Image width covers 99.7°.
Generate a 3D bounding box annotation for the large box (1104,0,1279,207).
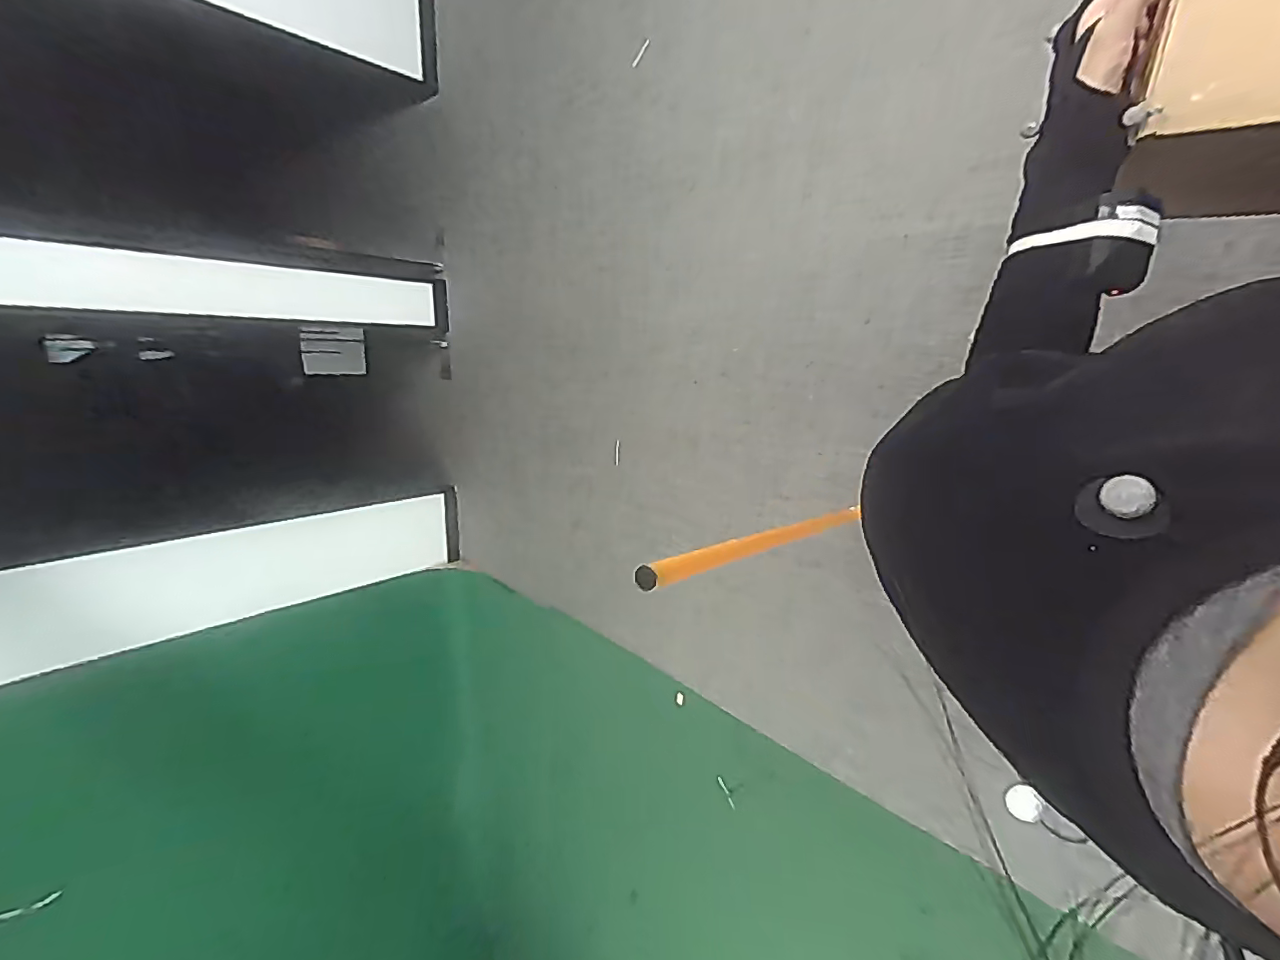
[{"bbox_3d":[0.601,-0.384,0.344,0.408,0.320,0.320,13,109,34],"label":"large box"}]
